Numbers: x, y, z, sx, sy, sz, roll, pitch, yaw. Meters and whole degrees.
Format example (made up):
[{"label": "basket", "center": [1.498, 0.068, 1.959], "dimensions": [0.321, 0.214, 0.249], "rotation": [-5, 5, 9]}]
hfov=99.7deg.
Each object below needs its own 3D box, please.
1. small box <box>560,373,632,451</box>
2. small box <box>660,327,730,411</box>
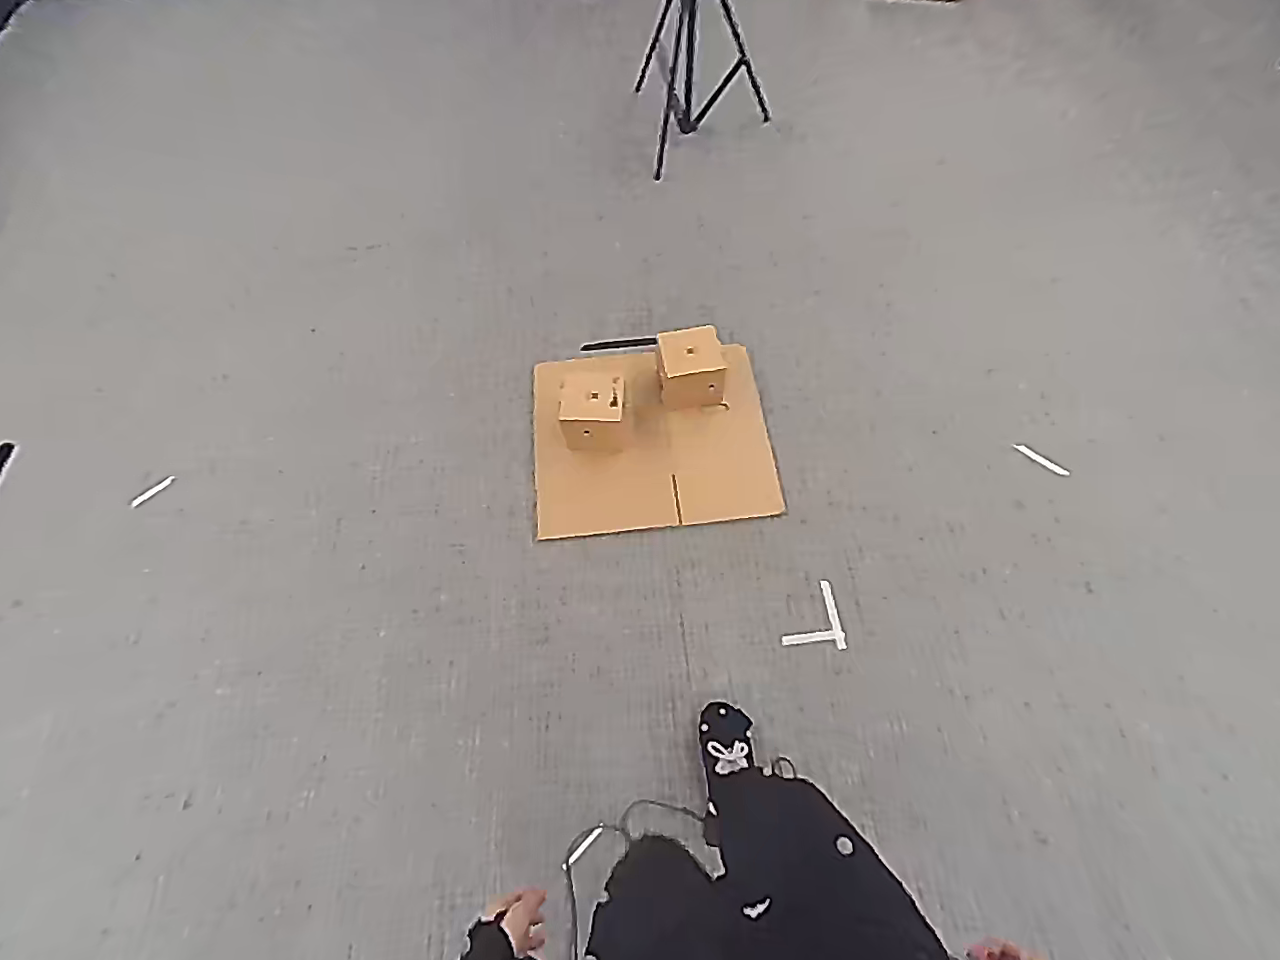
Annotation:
[{"label": "small box", "center": [-0.122, -0.193, 1.565], "dimensions": [0.179, 0.176, 0.168], "rotation": [2, 65, 5]}, {"label": "small box", "center": [0.158, -0.329, 1.622], "dimensions": [0.179, 0.176, 0.168], "rotation": [-10, 63, -2]}]
